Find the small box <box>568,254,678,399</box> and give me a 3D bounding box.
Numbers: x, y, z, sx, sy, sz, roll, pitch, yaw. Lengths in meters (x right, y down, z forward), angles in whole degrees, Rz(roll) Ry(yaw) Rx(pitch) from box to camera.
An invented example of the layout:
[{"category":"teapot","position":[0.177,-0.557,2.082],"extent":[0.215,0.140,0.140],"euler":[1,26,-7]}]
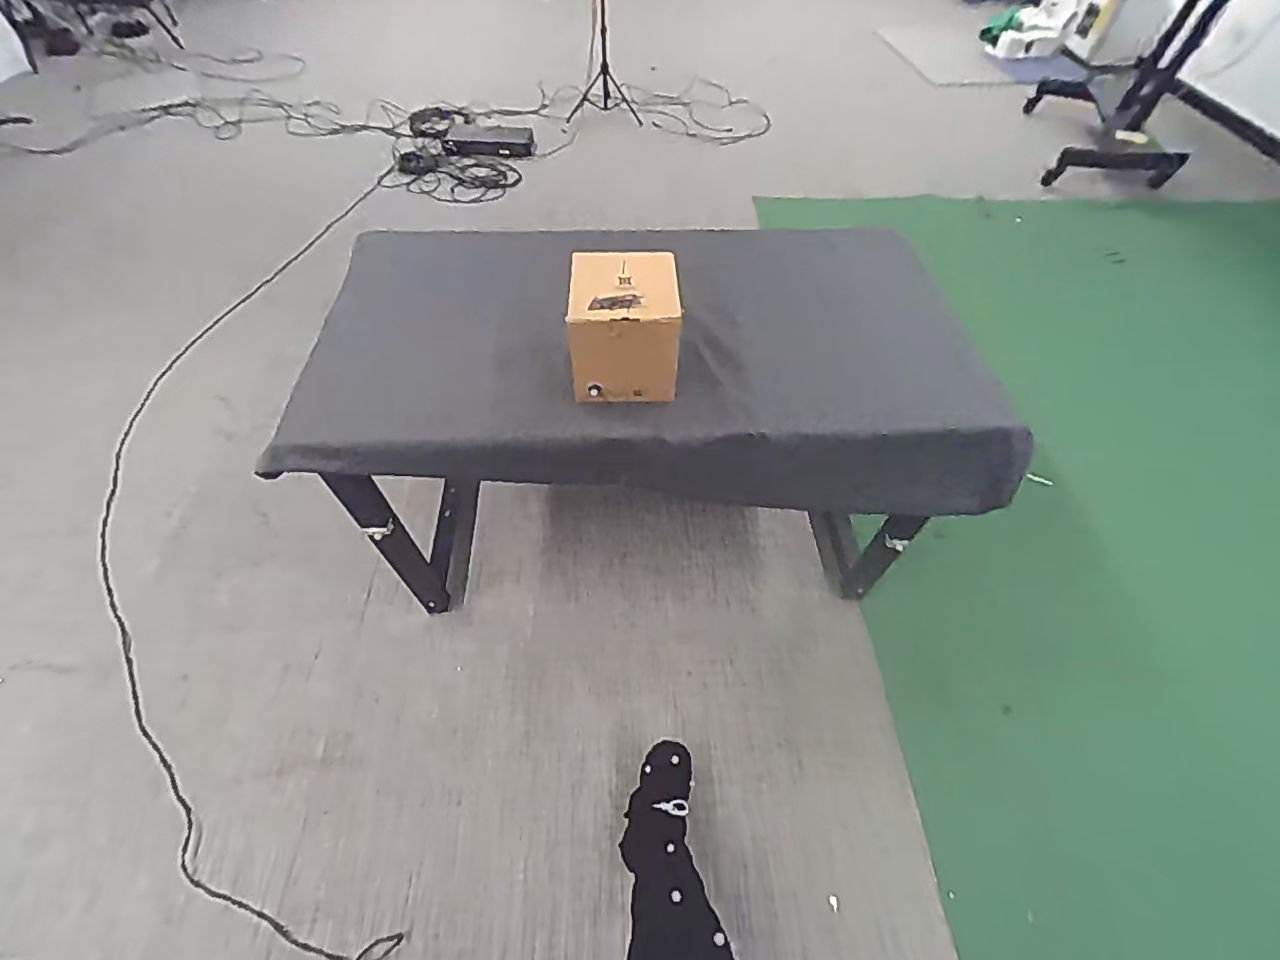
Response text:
[{"category":"small box","position":[-0.029,-0.248,0.899],"extent":[0.168,0.176,0.179],"euler":[-3,55,-3]}]
